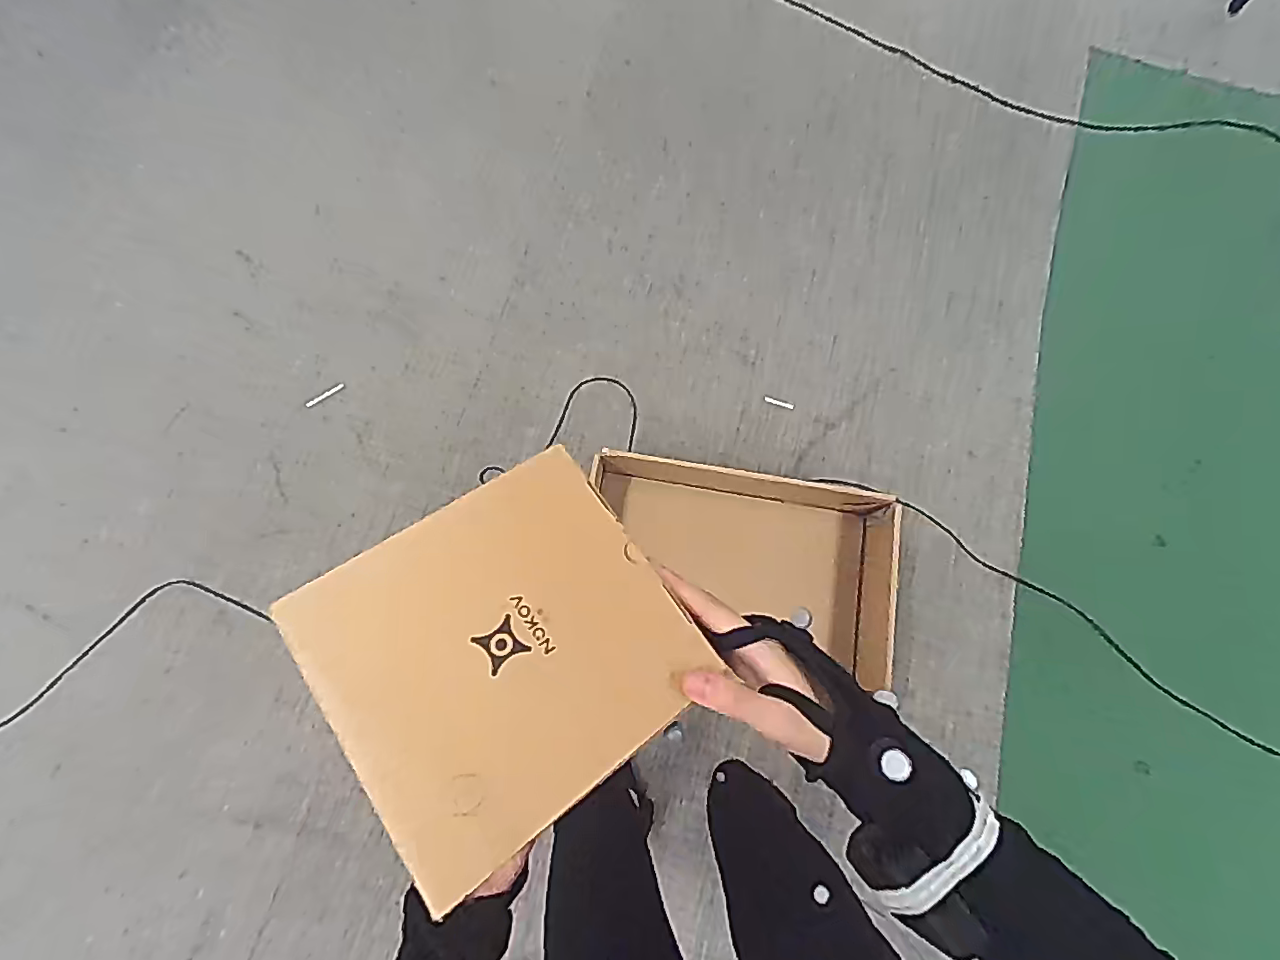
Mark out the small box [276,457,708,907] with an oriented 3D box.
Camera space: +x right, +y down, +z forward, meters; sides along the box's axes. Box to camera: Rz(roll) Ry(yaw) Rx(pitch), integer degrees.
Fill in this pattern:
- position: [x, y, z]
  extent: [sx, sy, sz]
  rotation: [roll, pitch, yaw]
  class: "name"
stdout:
- position: [-0.087, 0.121, 0.362]
  extent: [0.179, 0.176, 0.168]
  rotation: [-33, 76, -22]
  class: "small box"
